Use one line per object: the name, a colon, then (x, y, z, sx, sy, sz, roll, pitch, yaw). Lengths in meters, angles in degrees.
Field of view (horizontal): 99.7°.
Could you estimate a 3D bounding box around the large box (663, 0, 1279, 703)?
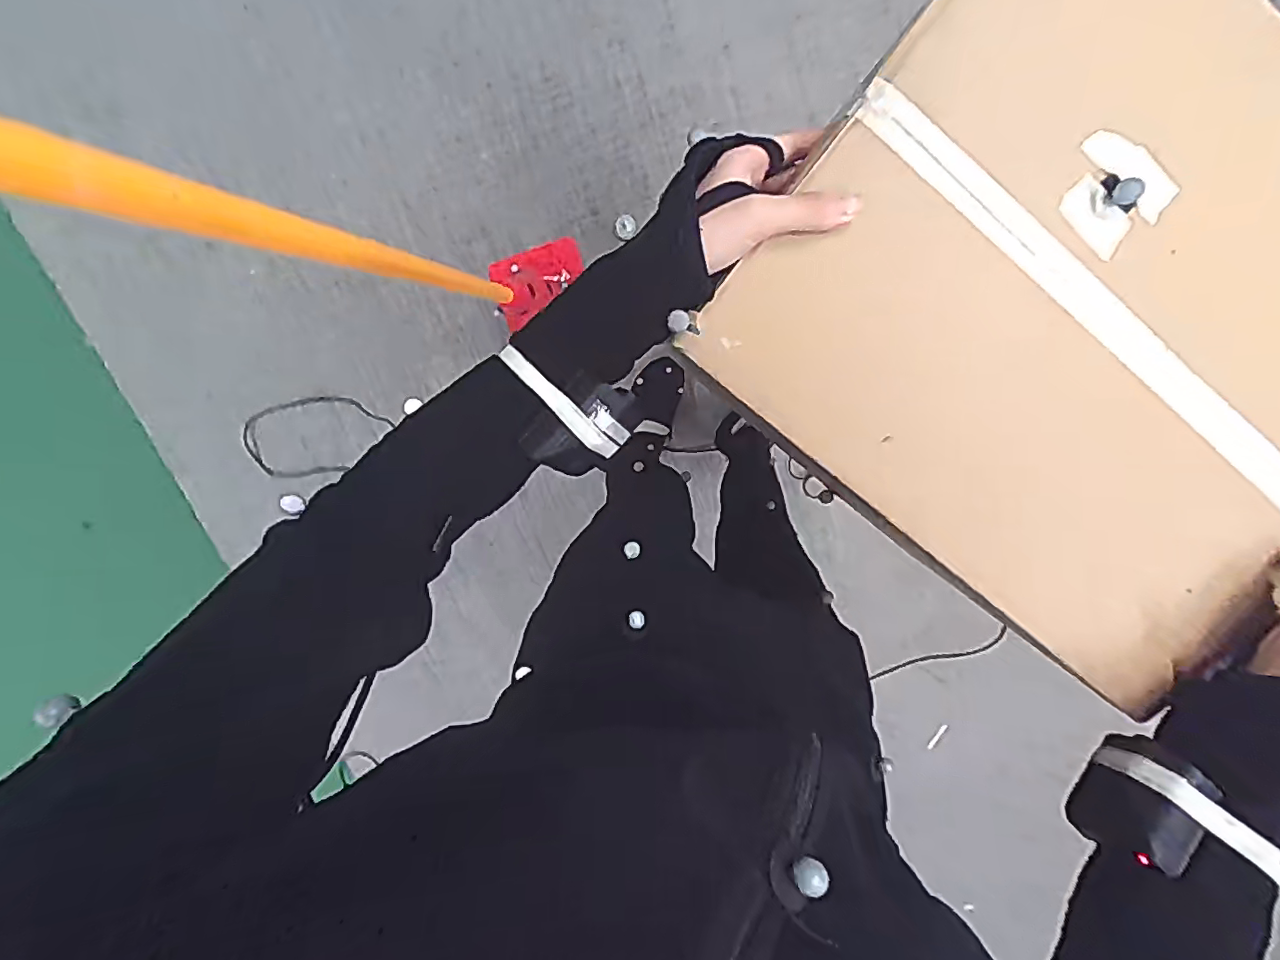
large box: (0.268, -0.105, 0.471, 0.408, 0.320, 0.320, 37, 101, -7)
